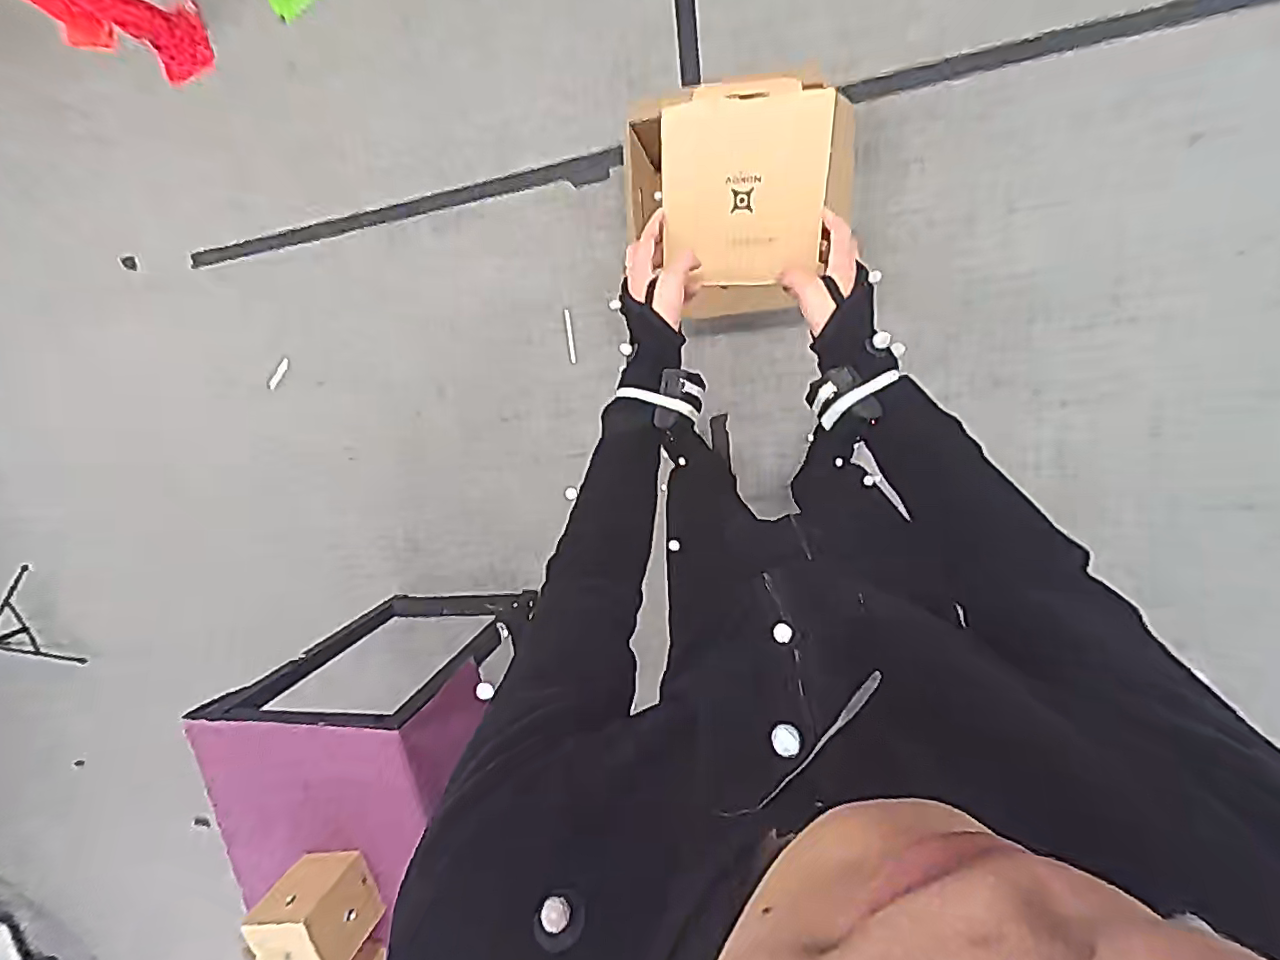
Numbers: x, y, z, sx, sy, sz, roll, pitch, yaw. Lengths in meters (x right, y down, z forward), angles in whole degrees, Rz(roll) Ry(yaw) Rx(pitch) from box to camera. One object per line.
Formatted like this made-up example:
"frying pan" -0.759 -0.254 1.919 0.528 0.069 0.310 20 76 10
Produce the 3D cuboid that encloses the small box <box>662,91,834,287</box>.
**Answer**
"small box" 0.115 -0.321 0.623 0.168 0.176 0.179 3 115 9

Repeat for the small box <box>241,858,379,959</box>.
"small box" -0.707 0.966 1.184 0.179 0.176 0.168 -14 98 16
